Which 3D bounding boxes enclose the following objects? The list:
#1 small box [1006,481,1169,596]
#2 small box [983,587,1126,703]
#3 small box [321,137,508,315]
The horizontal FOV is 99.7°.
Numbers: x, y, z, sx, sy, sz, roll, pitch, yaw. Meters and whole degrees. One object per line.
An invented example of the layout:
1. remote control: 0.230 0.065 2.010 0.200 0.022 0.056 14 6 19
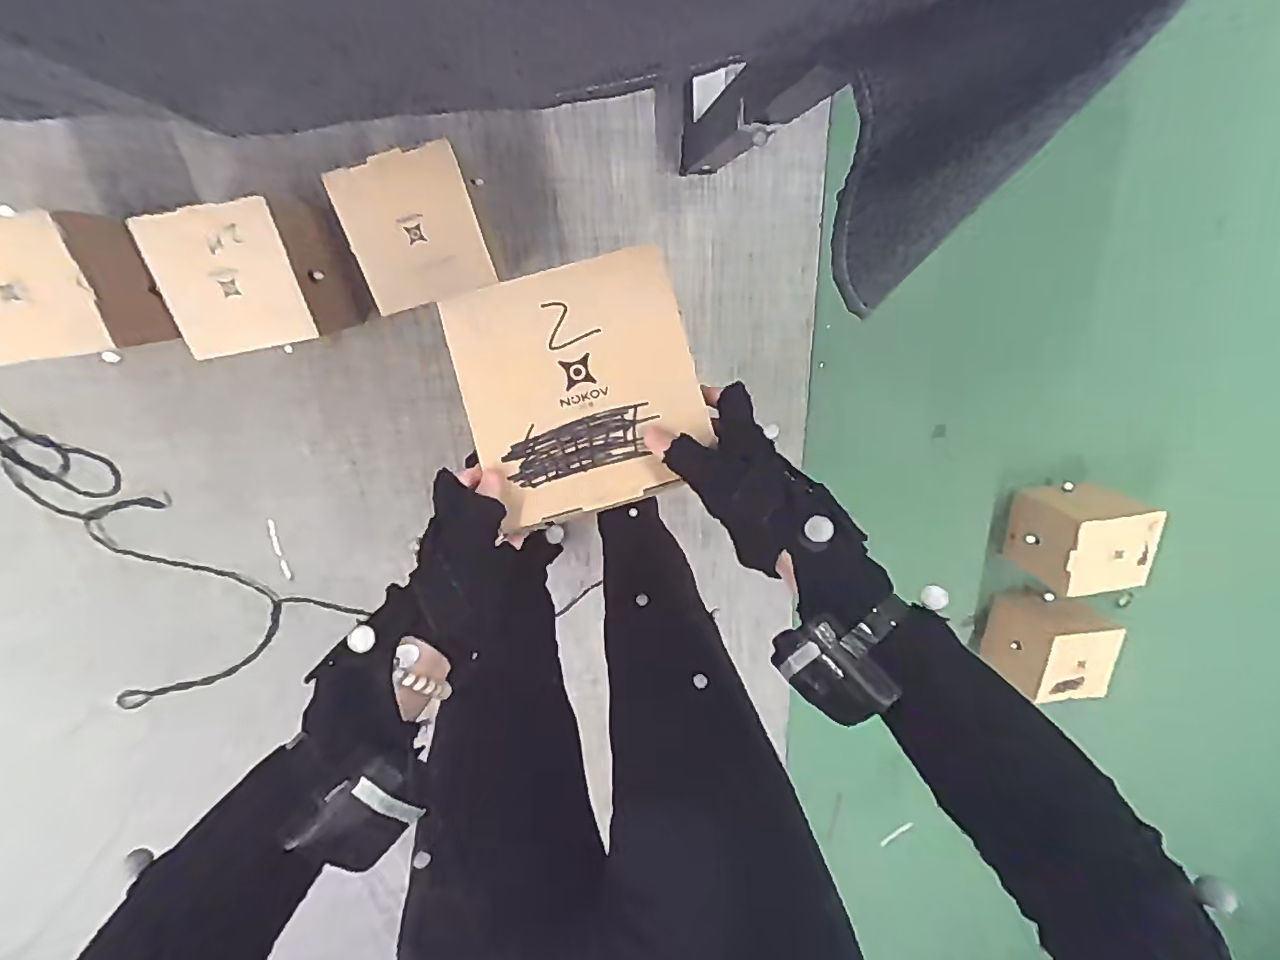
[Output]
1. small box: 0.888 0.112 1.094 0.179 0.176 0.168 -6 112 -4
2. small box: 0.900 0.359 1.195 0.168 0.176 0.179 -3 112 -6
3. small box: -0.296 -0.343 0.756 0.168 0.176 0.179 -16 112 0
